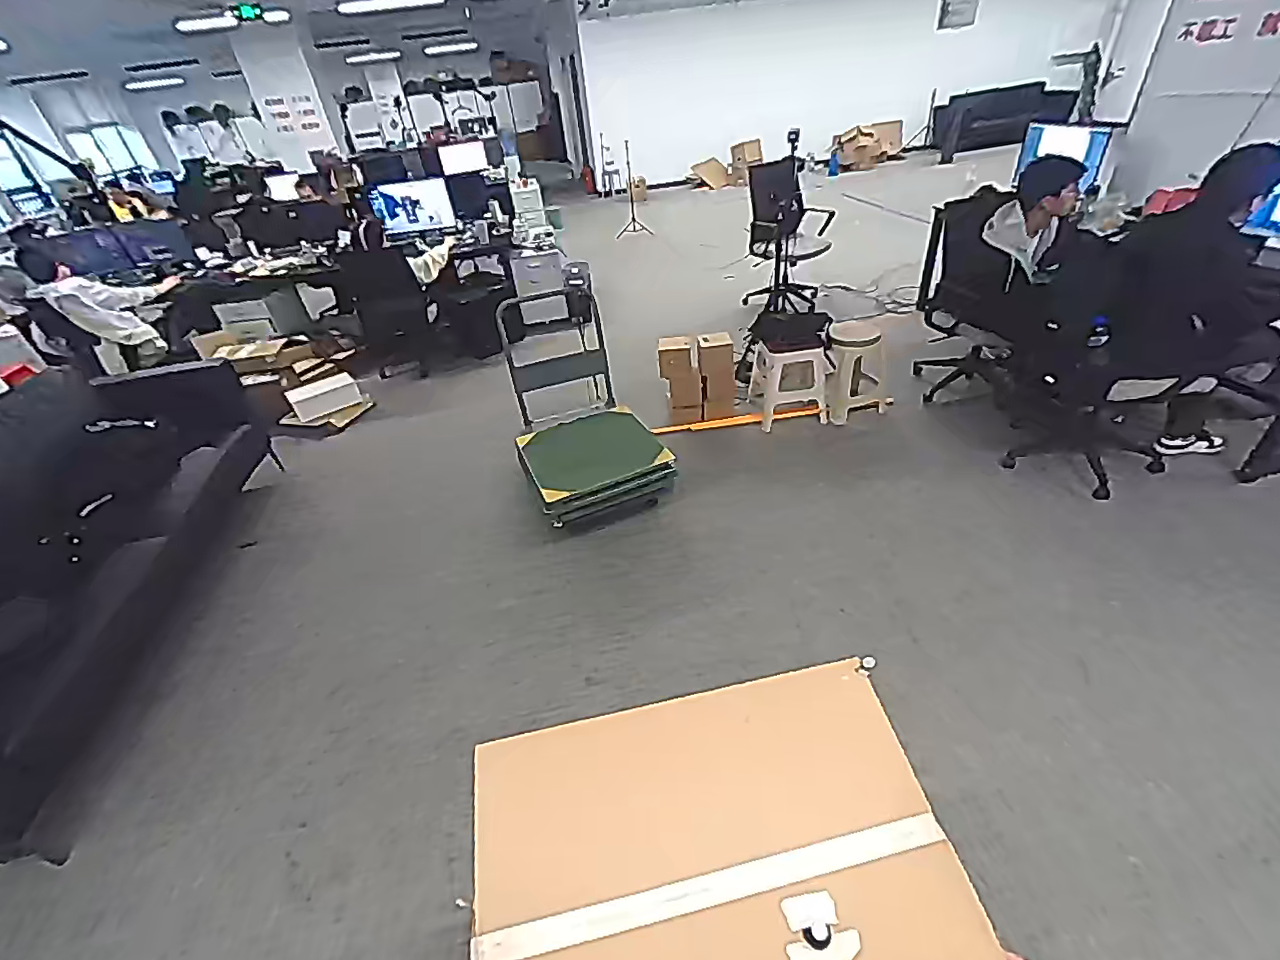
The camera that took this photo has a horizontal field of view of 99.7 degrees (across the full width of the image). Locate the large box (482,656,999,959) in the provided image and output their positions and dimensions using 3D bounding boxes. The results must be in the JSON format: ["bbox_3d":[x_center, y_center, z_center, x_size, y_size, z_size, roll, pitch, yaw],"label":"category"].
[{"bbox_3d":[0.072,0.438,0.581,0.408,0.320,0.320,-11,51,-7],"label":"large box"}]
